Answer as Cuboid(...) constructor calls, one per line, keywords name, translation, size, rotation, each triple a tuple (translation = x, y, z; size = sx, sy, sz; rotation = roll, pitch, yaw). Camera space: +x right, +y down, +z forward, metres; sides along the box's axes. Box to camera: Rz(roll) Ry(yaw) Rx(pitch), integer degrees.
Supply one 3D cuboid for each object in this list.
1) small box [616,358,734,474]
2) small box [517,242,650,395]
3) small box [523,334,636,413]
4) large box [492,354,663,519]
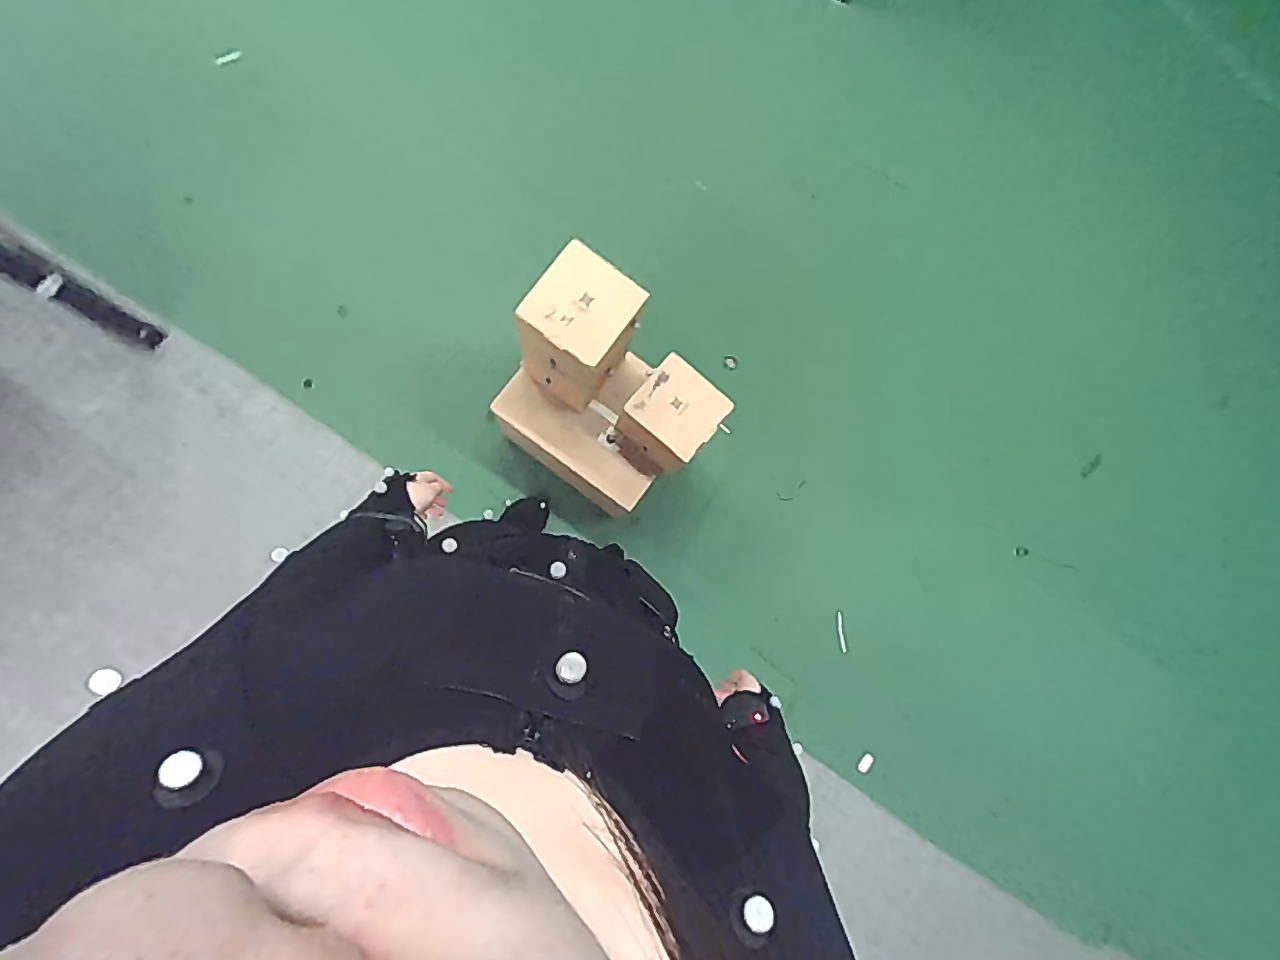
Cuboid(name="small box", translation=(0.069, -0.127, 1.172), size=(0.179, 0.176, 0.168), rotation=(42, 78, -1))
Cuboid(name="small box", translation=(-0.108, -0.288, 1.000), size=(0.168, 0.176, 0.179), rotation=(36, 79, -3))
Cuboid(name="small box", translation=(-0.134, -0.272, 1.162), size=(0.168, 0.176, 0.179), rotation=(37, 79, -3))
Cuboid(name="large box", translation=(-0.115, -0.139, 1.396), size=(0.408, 0.320, 0.320), rotation=(37, 80, -3))
